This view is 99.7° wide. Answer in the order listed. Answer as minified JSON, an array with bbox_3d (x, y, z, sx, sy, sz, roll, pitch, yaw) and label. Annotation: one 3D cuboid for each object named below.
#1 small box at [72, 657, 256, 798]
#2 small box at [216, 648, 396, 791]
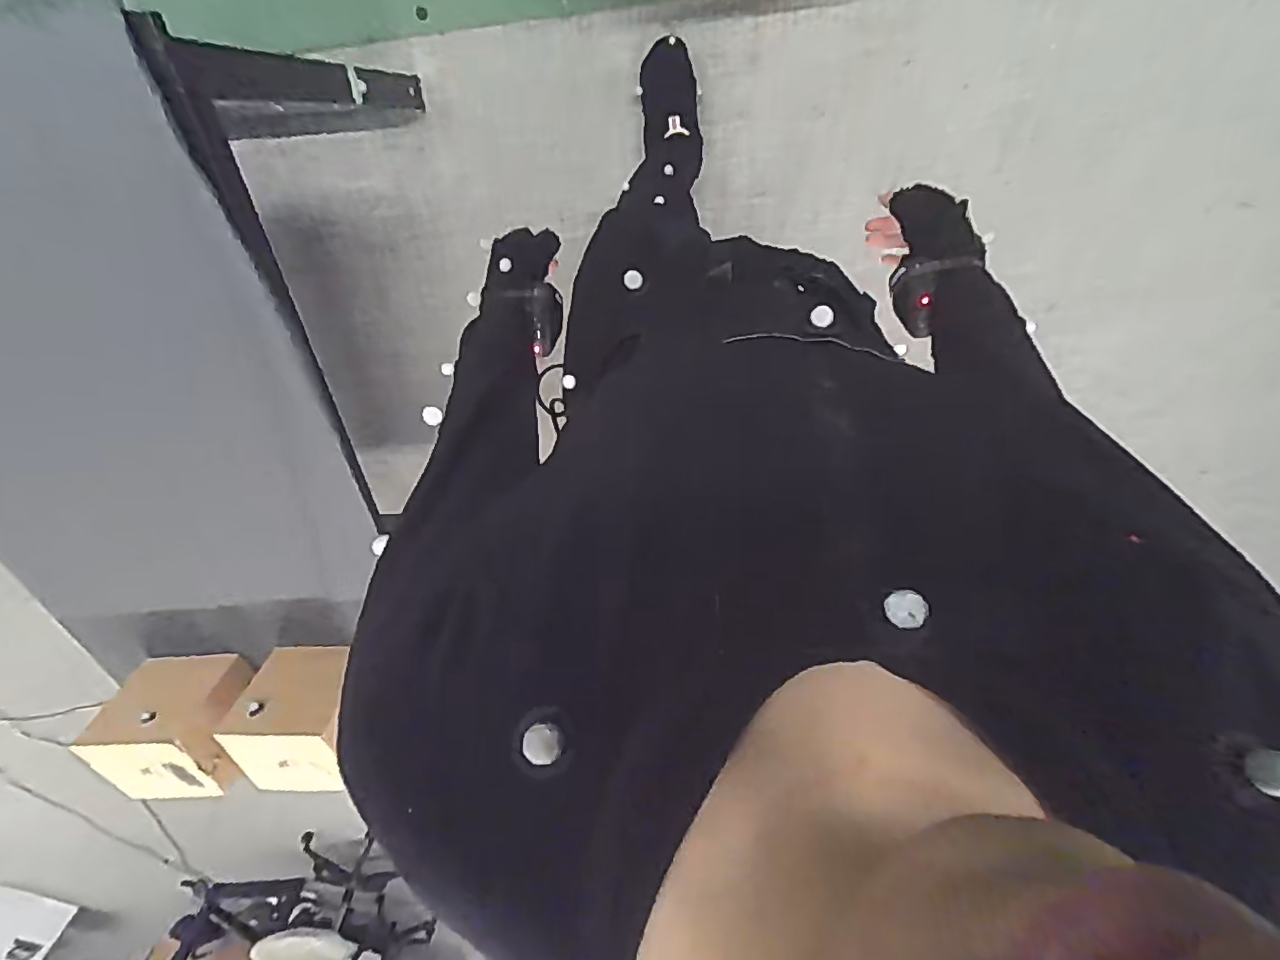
[{"bbox_3d":[-0.791,0.427,0.943,0.179,0.176,0.168,-4,124,3],"label":"small box"},{"bbox_3d":[-0.555,0.405,0.927,0.179,0.176,0.168,-2,124,3],"label":"small box"}]
